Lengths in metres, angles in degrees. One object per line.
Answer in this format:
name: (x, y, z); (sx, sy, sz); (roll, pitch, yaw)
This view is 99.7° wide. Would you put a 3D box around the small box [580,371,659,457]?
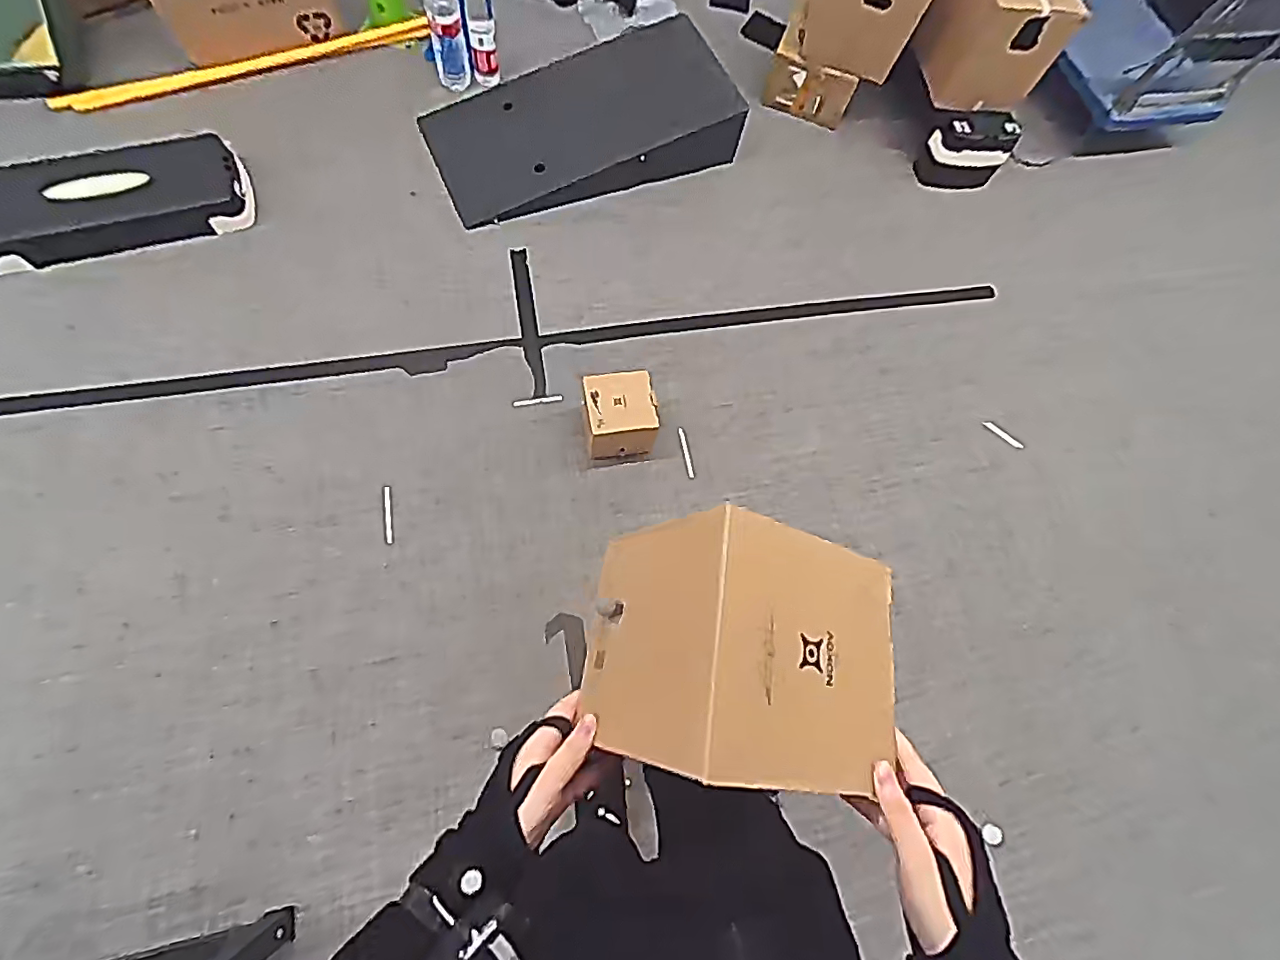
small box: (-0.061, -0.172, 1.440); (0.179, 0.176, 0.168); (-7, 72, -11)
